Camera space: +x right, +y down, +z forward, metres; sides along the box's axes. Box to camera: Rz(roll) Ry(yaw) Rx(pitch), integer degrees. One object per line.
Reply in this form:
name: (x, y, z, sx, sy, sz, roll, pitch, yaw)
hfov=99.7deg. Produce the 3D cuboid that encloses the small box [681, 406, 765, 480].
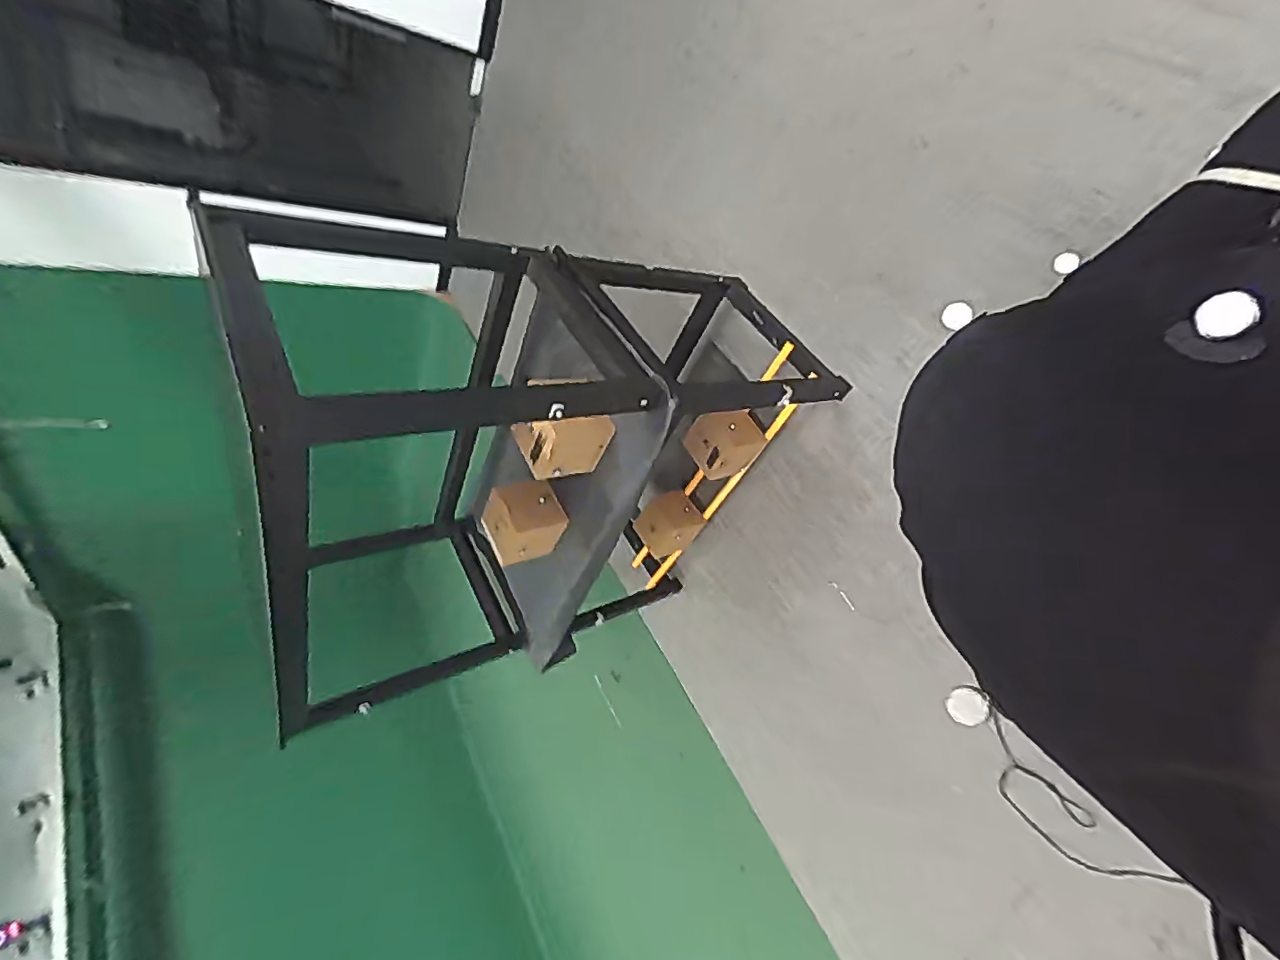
small box: (0.273, -0.127, 1.758, 0.179, 0.176, 0.168, 58, 137, 24)

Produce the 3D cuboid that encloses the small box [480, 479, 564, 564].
small box: (-0.343, 0.117, 1.574, 0.168, 0.176, 0.179, 58, 137, 24)
